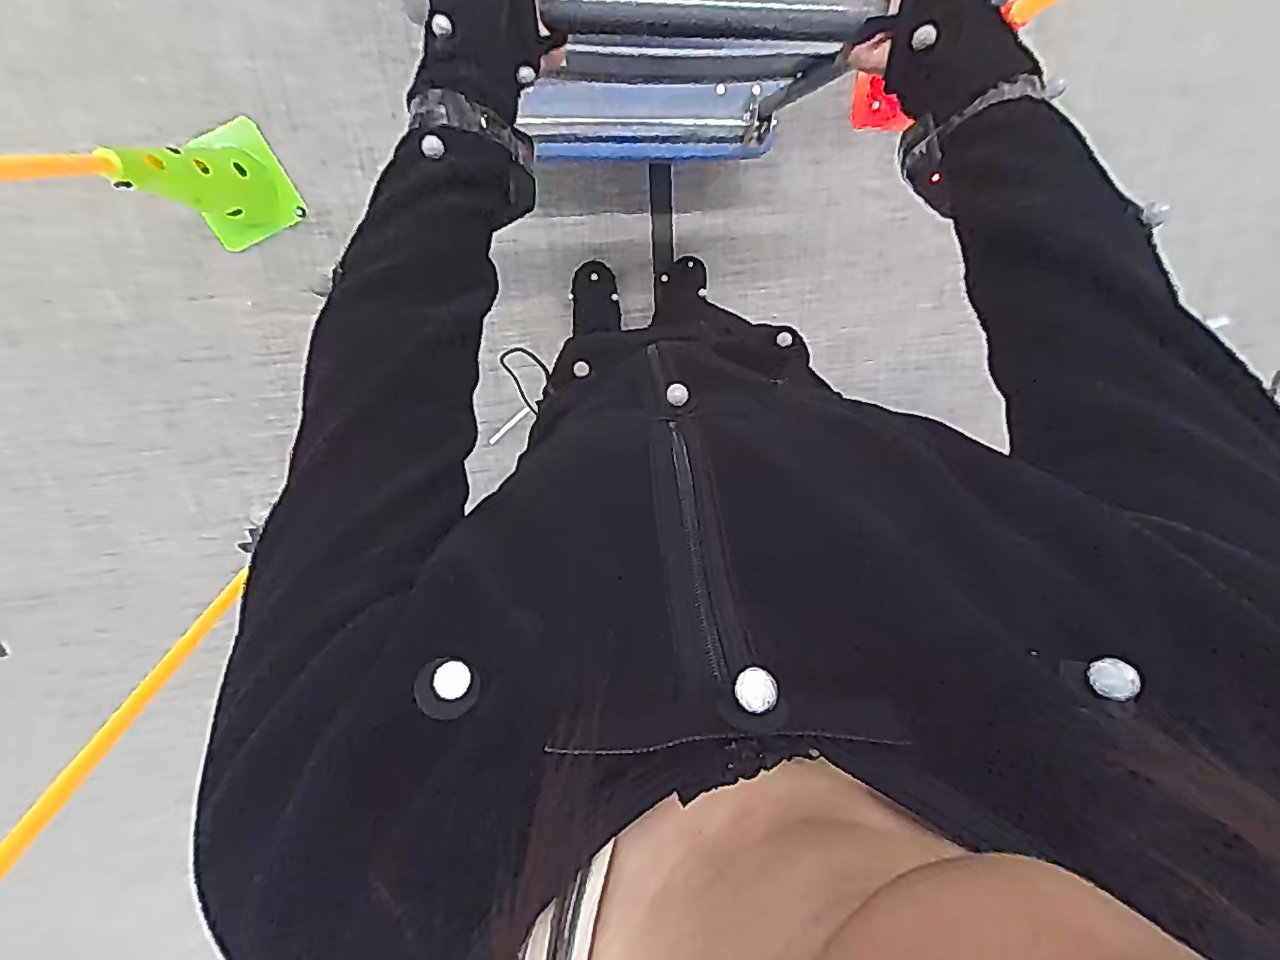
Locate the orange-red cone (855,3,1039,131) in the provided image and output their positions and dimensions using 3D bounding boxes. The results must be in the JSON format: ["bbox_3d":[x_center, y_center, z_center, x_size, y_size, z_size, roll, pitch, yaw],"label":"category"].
[{"bbox_3d":[0.600,-0.814,1.024,0.199,0.360,0.198,-1,114,-8],"label":"orange-red cone"}]
